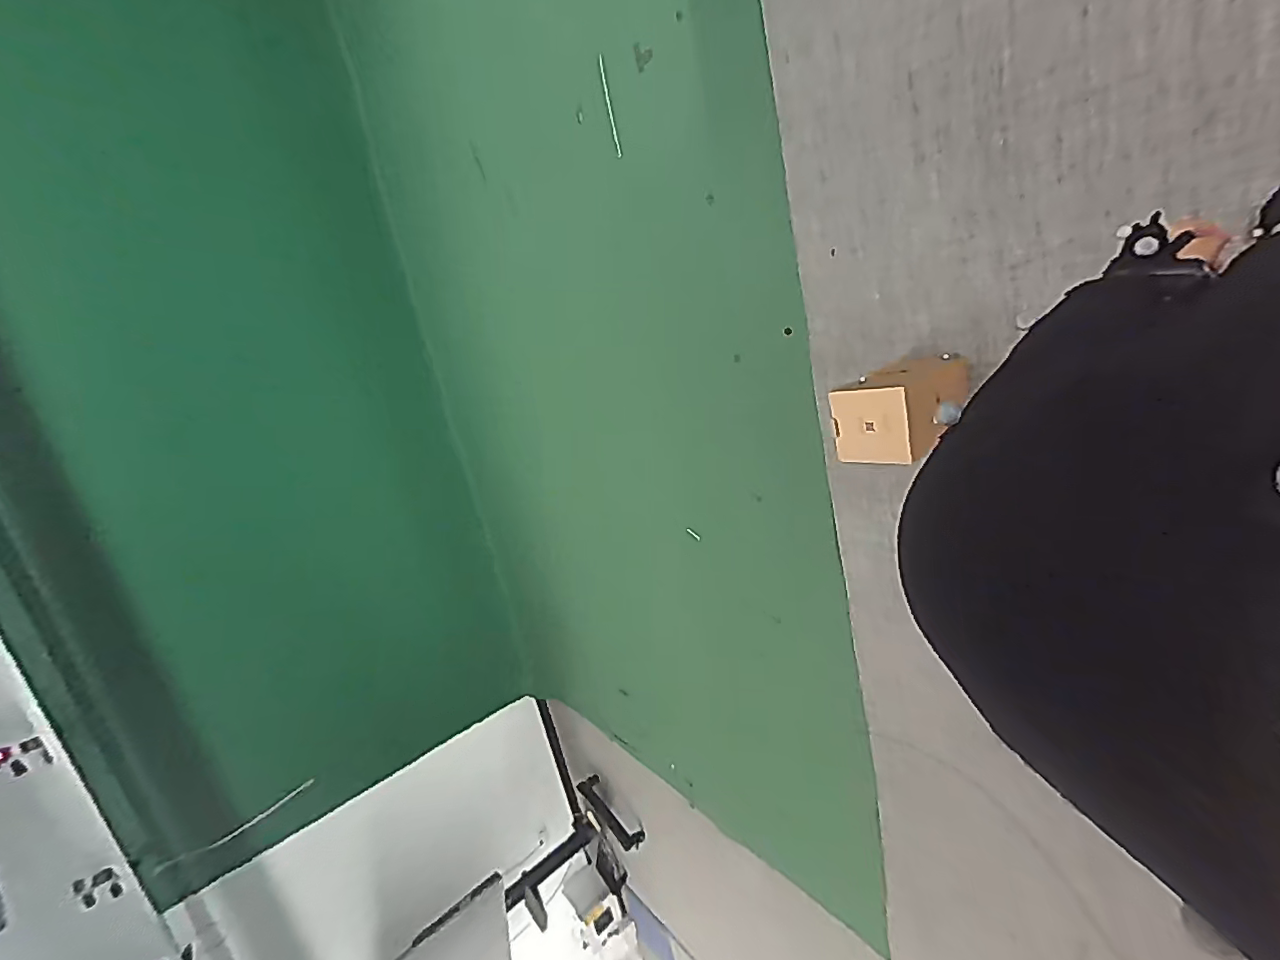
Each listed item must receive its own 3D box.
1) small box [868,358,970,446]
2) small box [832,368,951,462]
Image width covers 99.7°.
[{"bbox_3d":[0.674,-0.193,1.303,0.168,0.176,0.179,9,116,52],"label":"small box"},{"bbox_3d":[0.558,-0.145,1.199,0.179,0.176,0.168,4,113,52],"label":"small box"}]
